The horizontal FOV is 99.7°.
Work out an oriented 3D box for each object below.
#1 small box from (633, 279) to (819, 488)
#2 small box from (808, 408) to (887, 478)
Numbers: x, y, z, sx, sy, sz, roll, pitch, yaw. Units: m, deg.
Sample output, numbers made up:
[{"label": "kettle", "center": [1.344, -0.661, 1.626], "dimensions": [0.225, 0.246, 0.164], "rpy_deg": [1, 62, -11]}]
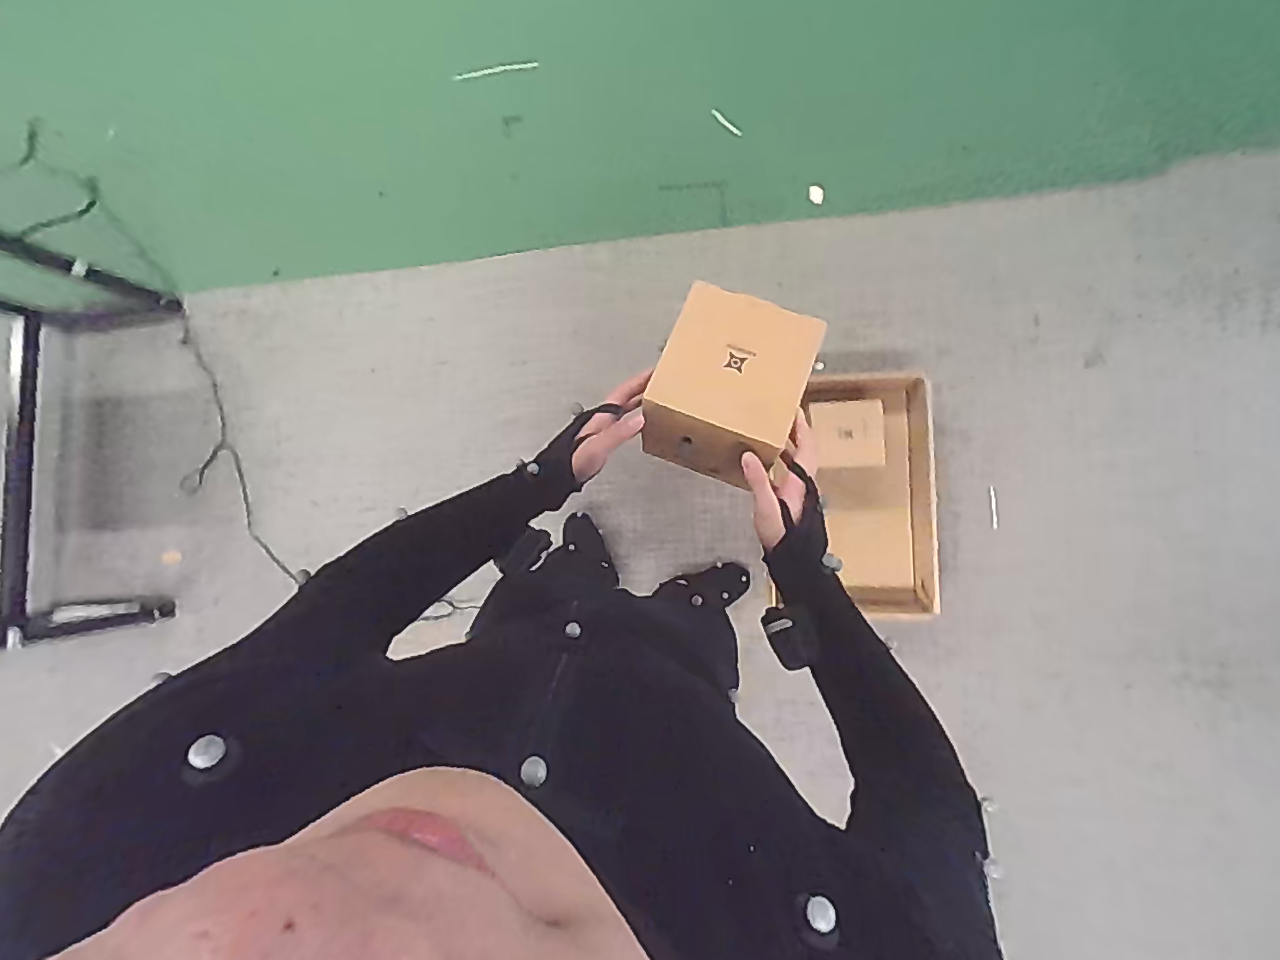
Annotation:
[{"label": "small box", "center": [0.101, -0.110, 0.683], "dimensions": [0.168, 0.176, 0.179], "rpy_deg": [21, 73, 7]}, {"label": "small box", "center": [0.540, -0.093, 1.429], "dimensions": [0.179, 0.176, 0.168], "rpy_deg": [-1, 87, 10]}]
